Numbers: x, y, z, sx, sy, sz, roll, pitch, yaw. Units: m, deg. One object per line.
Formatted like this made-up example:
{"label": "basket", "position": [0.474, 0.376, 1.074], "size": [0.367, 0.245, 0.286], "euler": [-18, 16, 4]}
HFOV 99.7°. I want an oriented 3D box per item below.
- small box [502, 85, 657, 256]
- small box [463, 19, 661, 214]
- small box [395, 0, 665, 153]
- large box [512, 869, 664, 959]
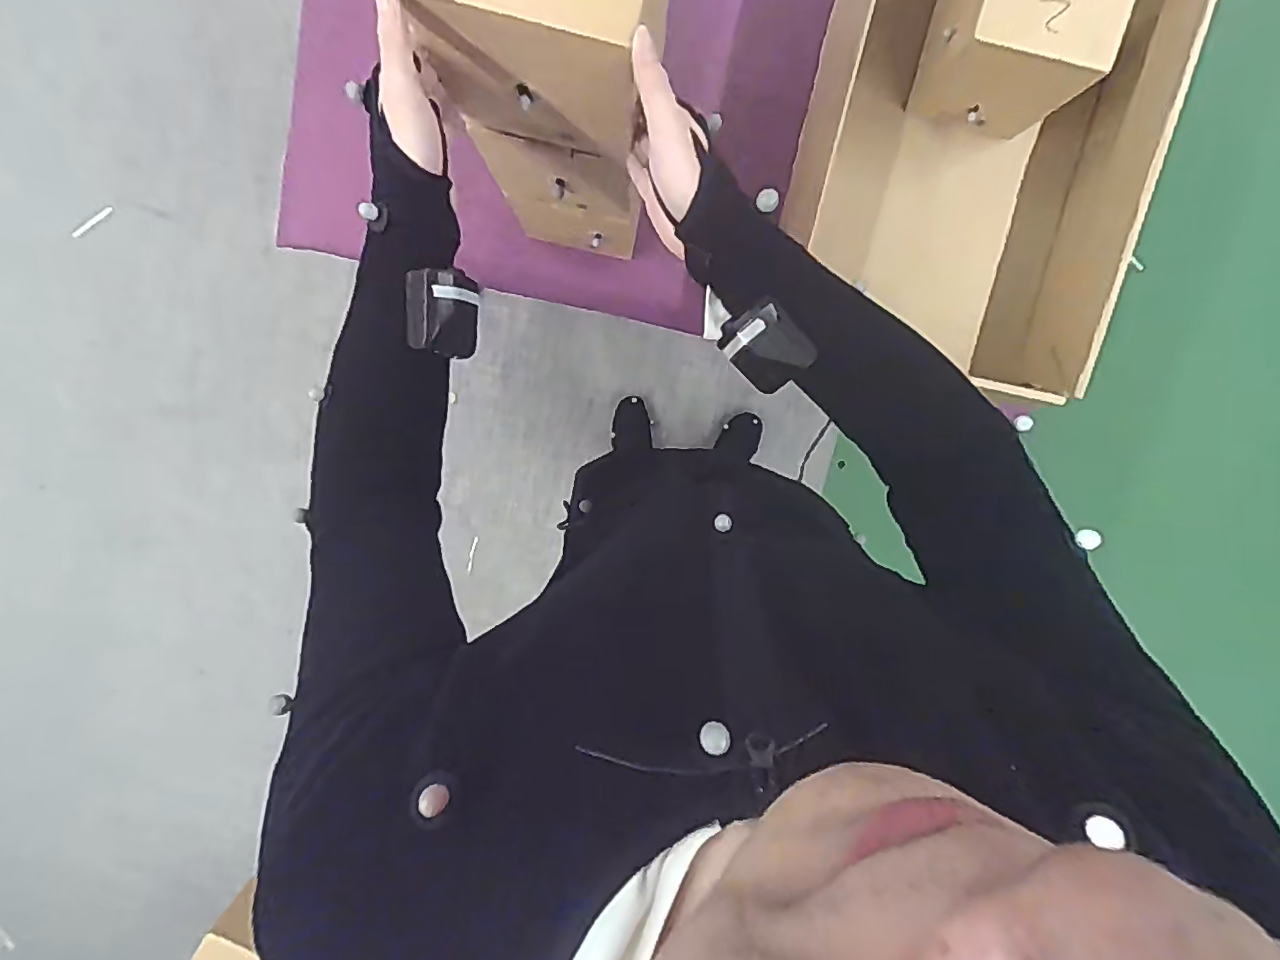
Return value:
{"label": "small box", "position": [-0.076, -0.432, 0.747], "size": [0.168, 0.176, 0.179], "euler": [12, 96, -3]}
{"label": "small box", "position": [-0.073, -0.415, 0.585], "size": [0.168, 0.176, 0.179], "euler": [12, 97, -3]}
{"label": "small box", "position": [-0.067, -0.394, 0.419], "size": [0.168, 0.176, 0.179], "euler": [13, 96, -3]}
{"label": "large box", "position": [-0.155, 1.525, 1.685], "size": [0.408, 0.320, 0.320], "euler": [-20, 99, 1]}
